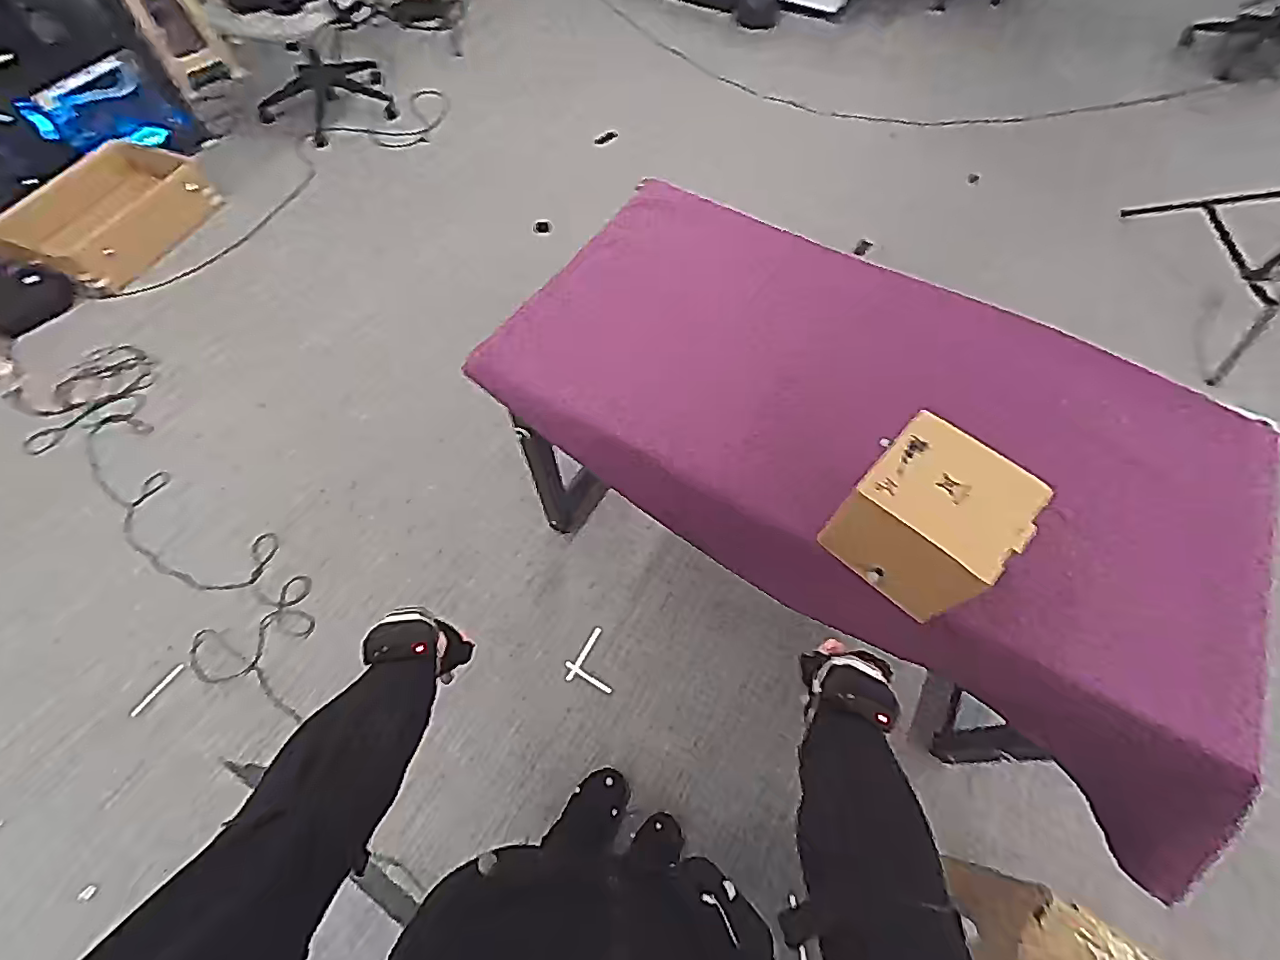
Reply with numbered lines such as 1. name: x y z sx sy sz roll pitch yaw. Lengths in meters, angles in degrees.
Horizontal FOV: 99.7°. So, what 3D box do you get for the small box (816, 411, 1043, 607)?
1. small box: 0.371 0.049 0.722 0.179 0.176 0.168 40 67 19
